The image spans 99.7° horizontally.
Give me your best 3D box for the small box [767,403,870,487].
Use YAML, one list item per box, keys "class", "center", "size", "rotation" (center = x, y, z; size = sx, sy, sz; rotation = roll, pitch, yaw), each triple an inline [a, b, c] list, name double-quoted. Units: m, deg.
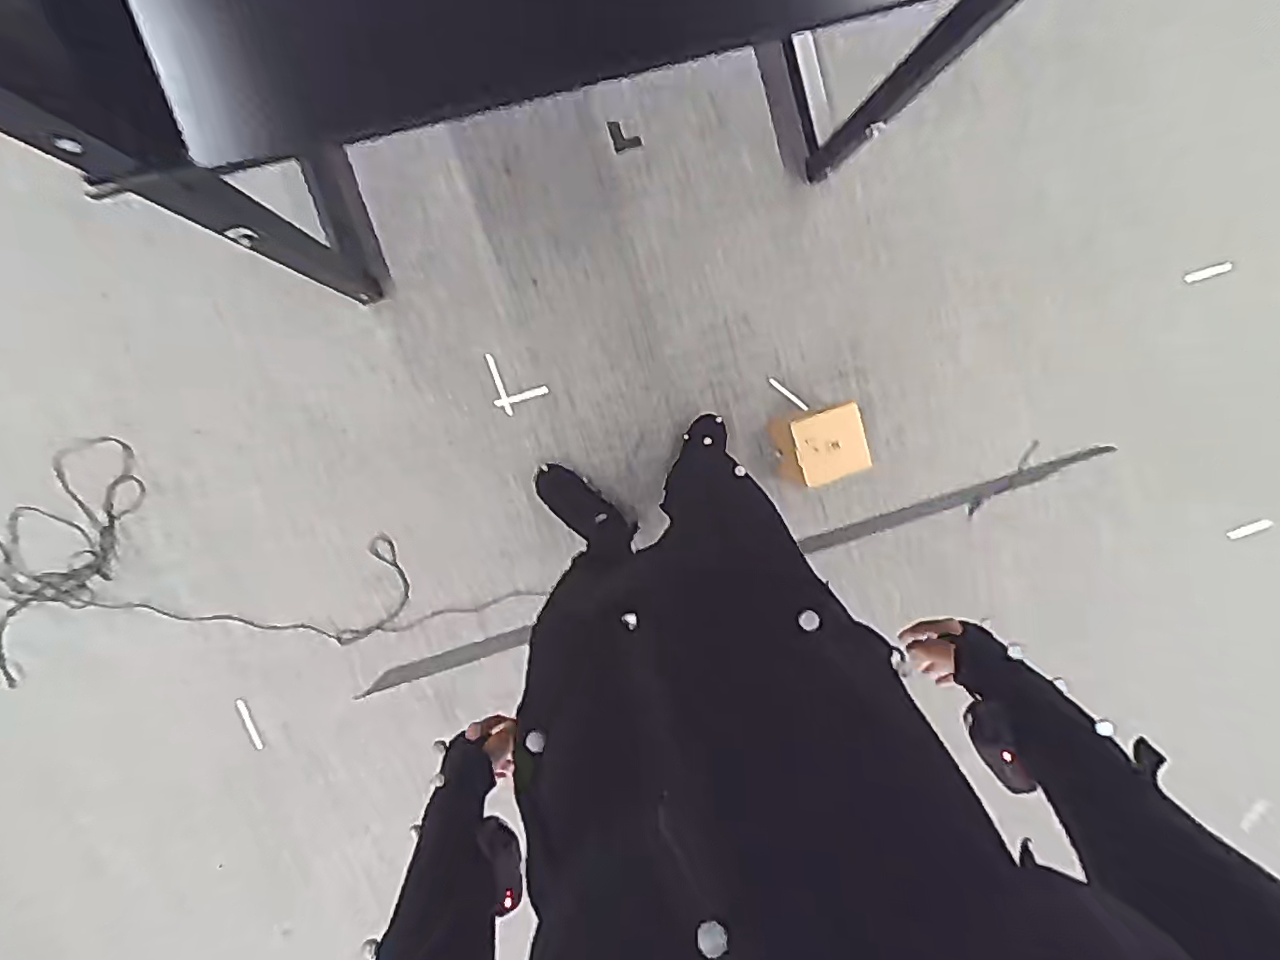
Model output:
- class: "small box"
  center: [0.447, -0.095, 1.373]
  size: [0.179, 0.176, 0.168]
  rotation: [-18, 100, -4]
